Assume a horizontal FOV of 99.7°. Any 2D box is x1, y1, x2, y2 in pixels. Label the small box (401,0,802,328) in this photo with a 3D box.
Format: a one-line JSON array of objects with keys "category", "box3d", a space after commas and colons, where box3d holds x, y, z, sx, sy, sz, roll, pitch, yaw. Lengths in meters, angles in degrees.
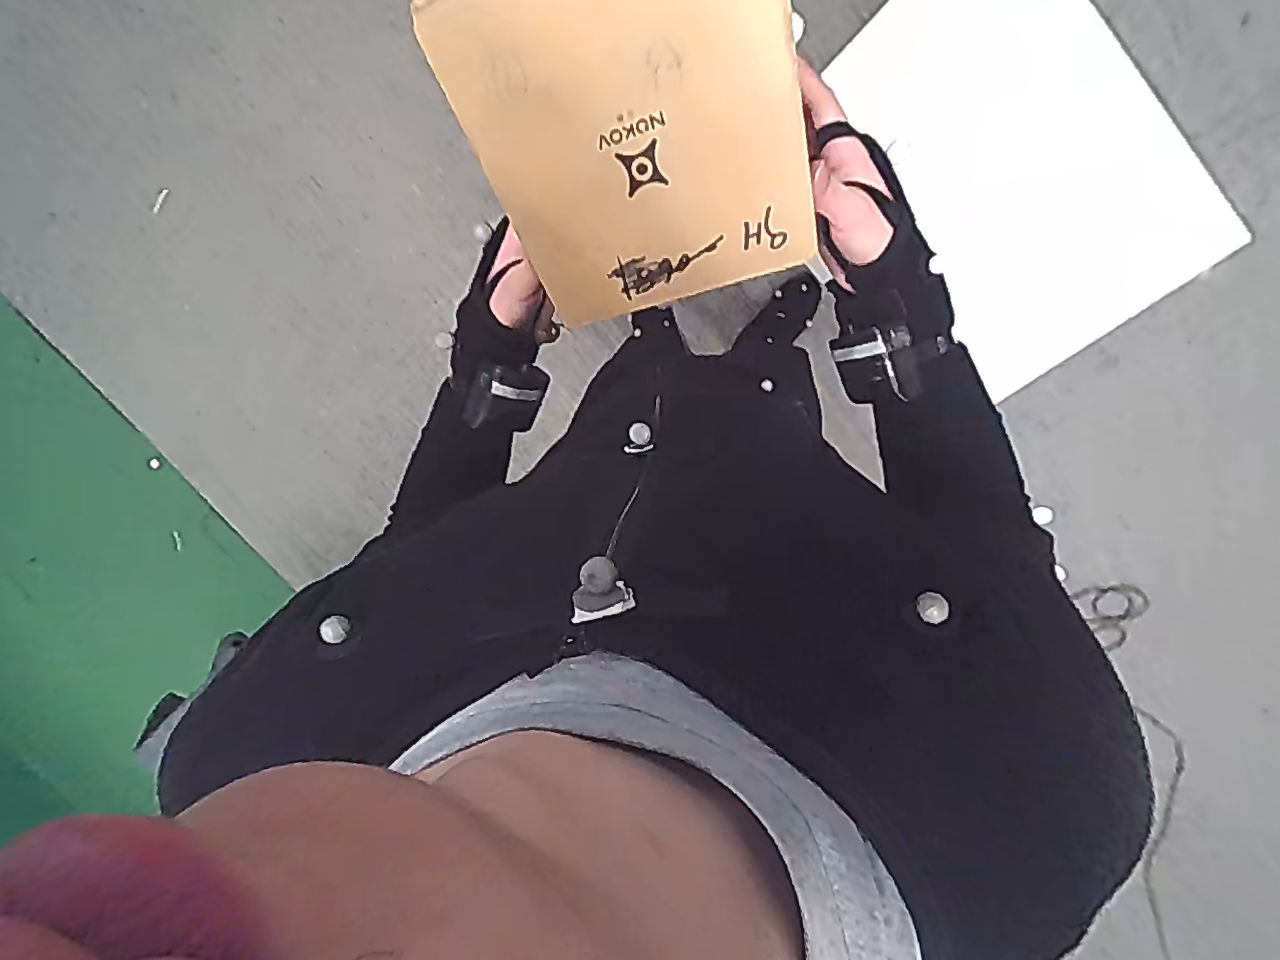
[{"category": "small box", "box3d": [-0.002, -0.230, 0.336, 0.168, 0.176, 0.179, -10, 135, 17]}]
